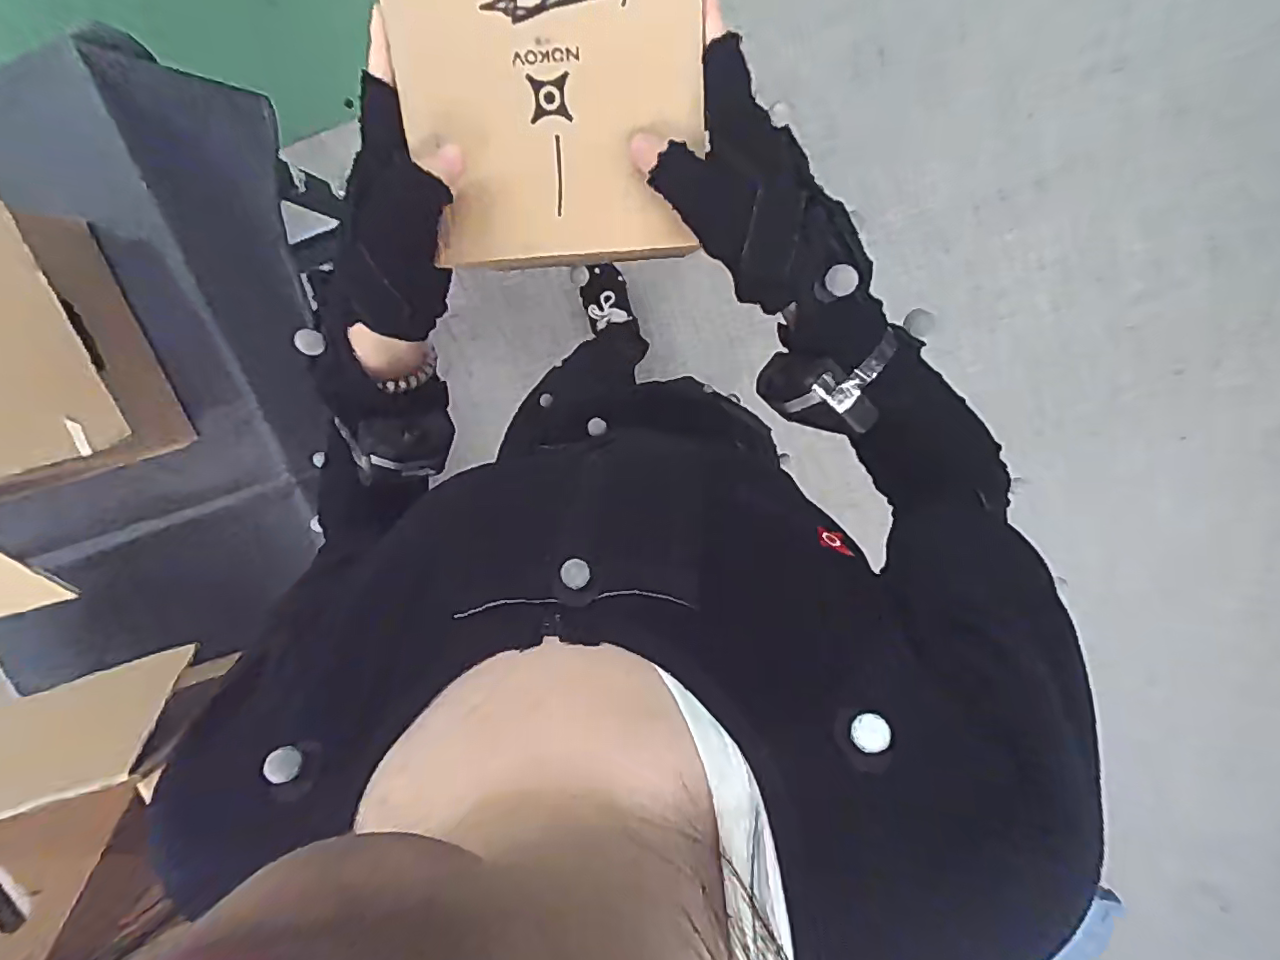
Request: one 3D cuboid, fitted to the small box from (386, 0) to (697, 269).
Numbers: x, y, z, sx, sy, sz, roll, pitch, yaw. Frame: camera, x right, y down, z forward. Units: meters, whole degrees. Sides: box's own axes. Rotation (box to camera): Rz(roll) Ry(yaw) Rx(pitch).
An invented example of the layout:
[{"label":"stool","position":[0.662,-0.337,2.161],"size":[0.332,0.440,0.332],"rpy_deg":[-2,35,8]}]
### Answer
[{"label":"small box","position":[-0.053,-0.245,0.372],"size":[0.168,0.176,0.179],"rpy_deg":[-3,110,0]}]
